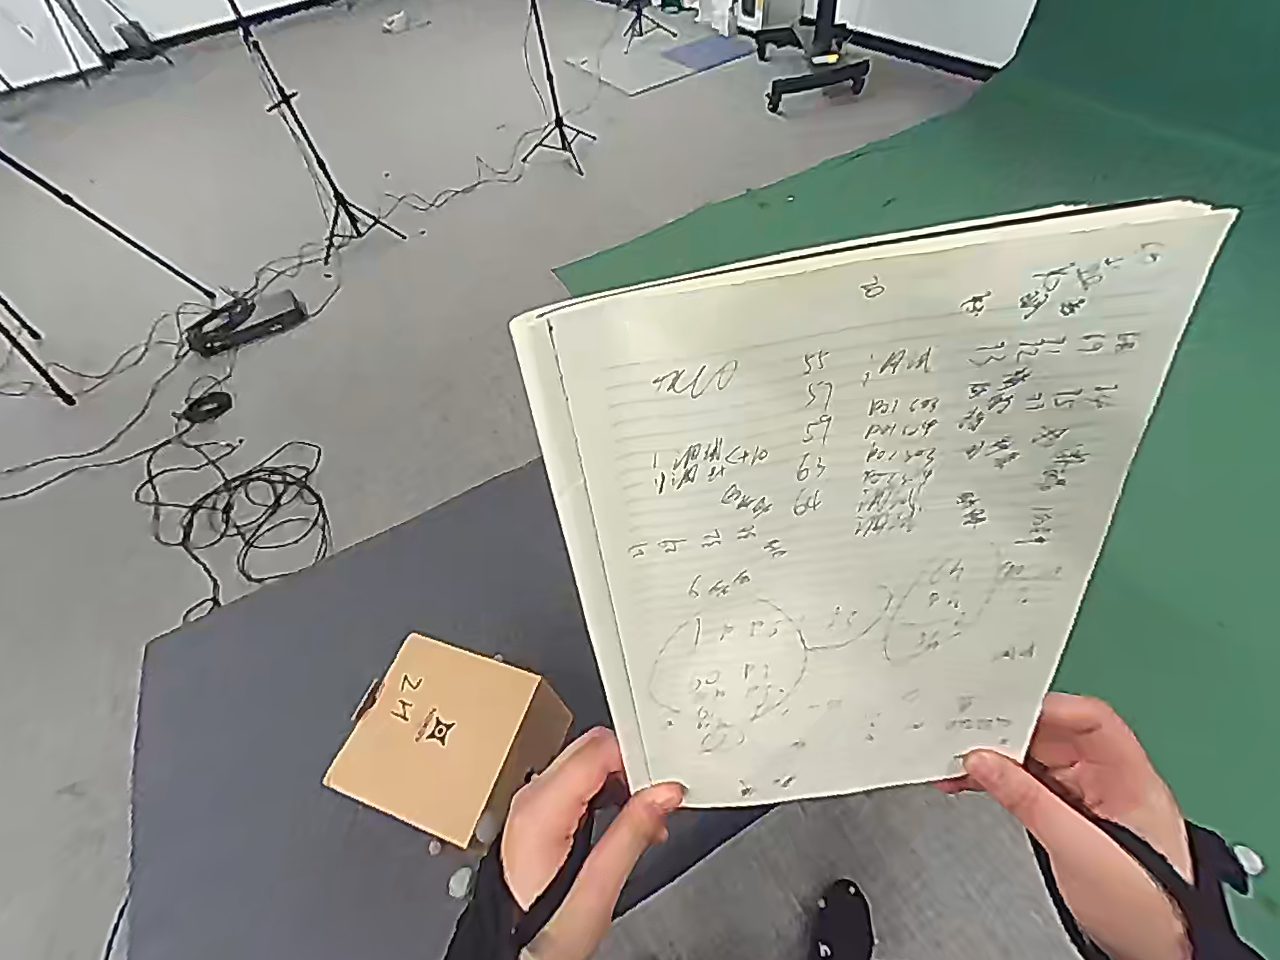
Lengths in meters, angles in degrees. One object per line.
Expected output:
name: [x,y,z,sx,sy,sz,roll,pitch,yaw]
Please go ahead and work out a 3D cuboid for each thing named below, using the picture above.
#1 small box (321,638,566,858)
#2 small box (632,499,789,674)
small box: [-0.204,0.310,0.622,0.179,0.176,0.168,12,55,17]
small box: [0.086,0.144,0.707,0.179,0.176,0.168,-5,52,6]
